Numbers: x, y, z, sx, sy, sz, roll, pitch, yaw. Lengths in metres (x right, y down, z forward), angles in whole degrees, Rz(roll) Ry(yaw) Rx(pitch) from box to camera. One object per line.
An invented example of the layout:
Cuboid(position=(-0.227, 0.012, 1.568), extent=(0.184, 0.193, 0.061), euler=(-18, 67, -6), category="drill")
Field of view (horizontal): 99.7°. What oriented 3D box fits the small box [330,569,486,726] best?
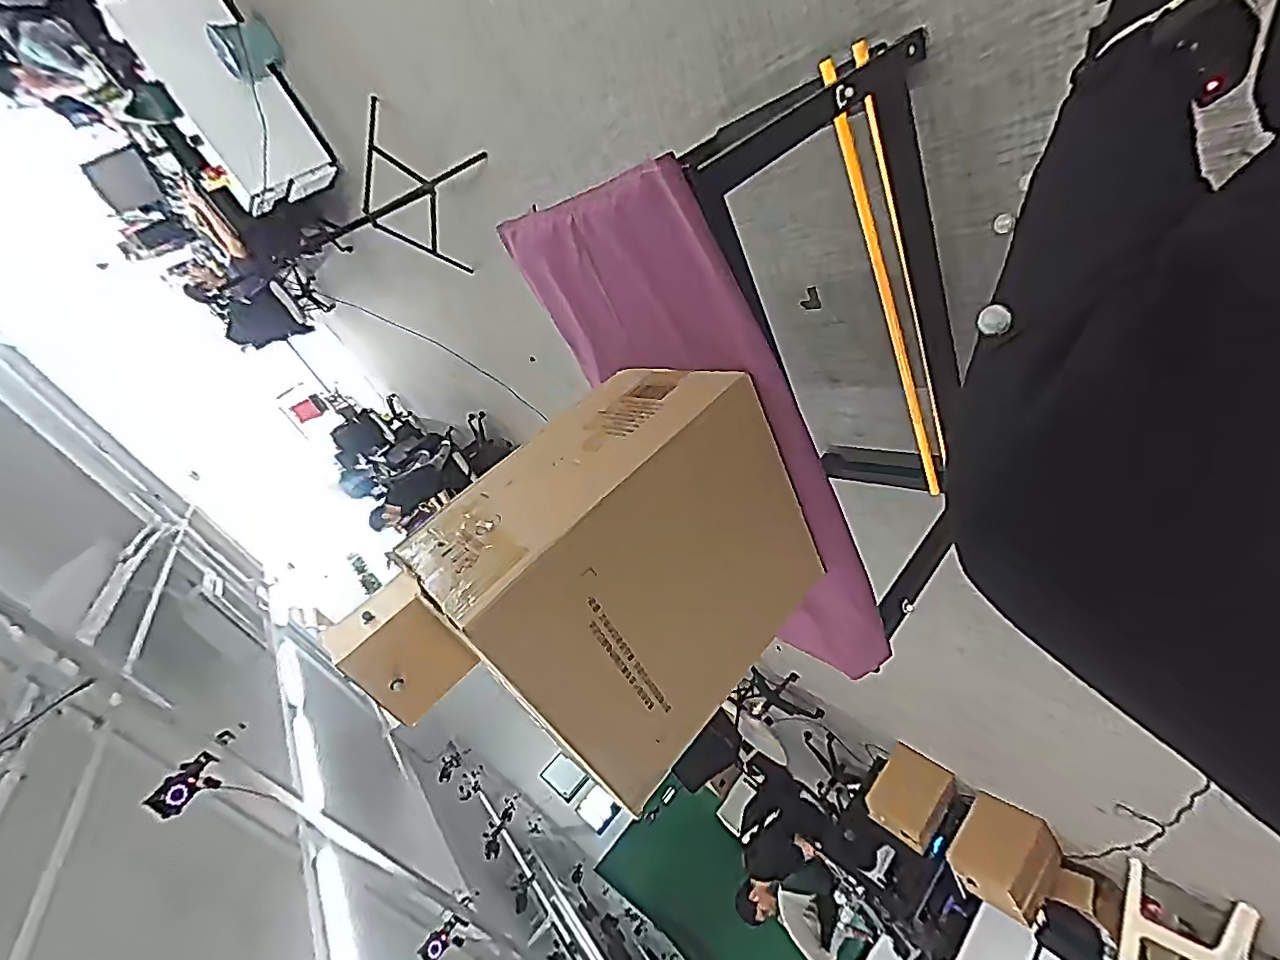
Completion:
Cuboid(position=(-0.409, 0.285, 0.959), extent=(0.168, 0.176, 0.179), euler=(10, 139, 56), category="small box")
